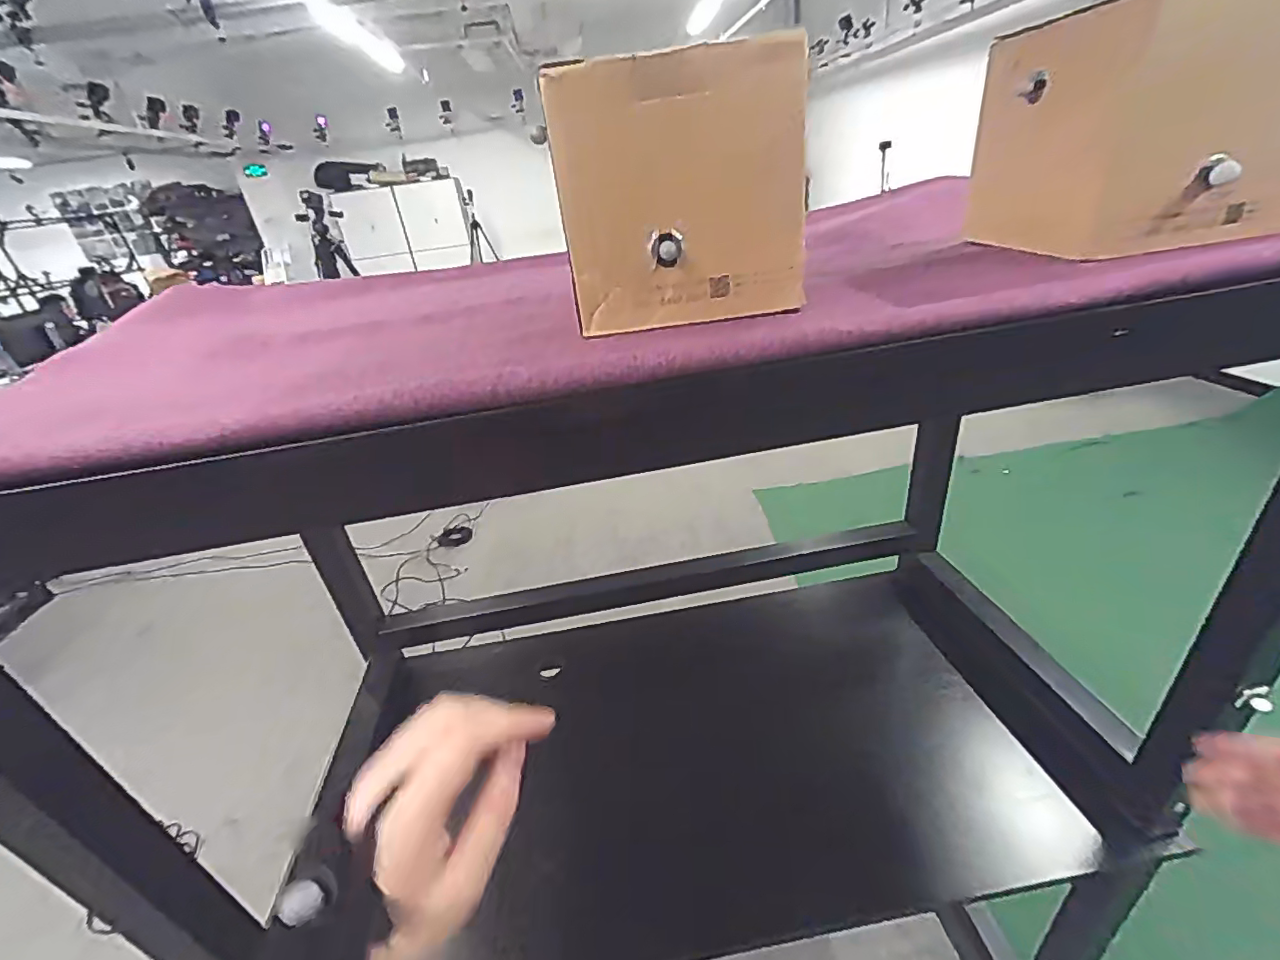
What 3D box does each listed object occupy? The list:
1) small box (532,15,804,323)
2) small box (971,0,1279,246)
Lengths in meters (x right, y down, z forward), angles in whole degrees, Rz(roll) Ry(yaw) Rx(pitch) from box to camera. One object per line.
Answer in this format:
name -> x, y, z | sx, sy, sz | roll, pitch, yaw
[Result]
small box -> 0.022, -0.231, 0.432 | 0.168, 0.176, 0.179 | -8, 29, 1
small box -> 0.403, -0.295, 0.437 | 0.168, 0.176, 0.179 | -8, 31, 3
